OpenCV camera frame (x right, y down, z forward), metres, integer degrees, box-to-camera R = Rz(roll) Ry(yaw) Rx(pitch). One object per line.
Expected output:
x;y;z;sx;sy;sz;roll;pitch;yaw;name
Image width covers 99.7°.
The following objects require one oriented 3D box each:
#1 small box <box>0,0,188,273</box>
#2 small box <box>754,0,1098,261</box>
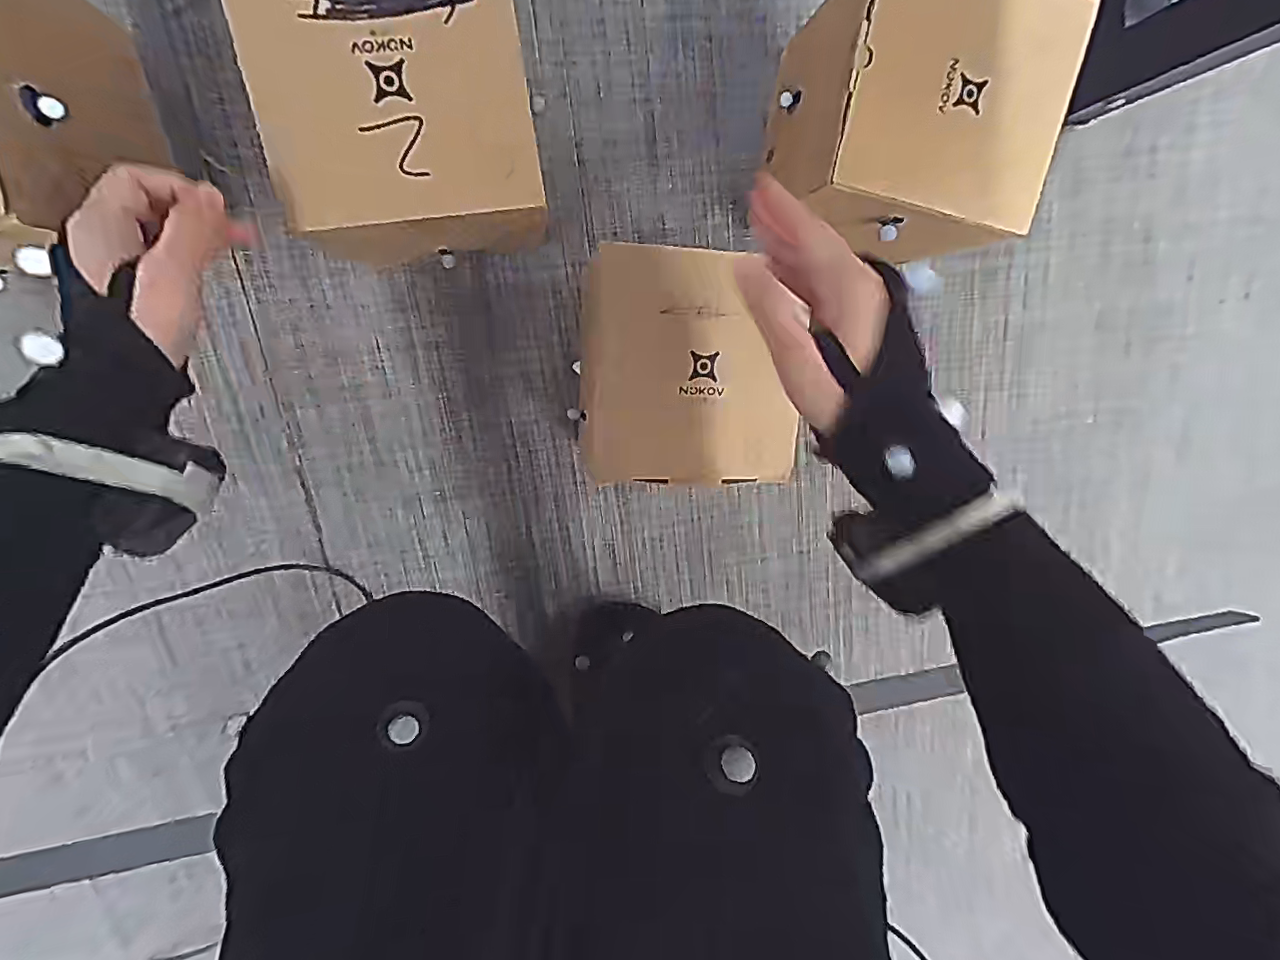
-0.455;-0.240;0.360;0.168;0.176;0.179;-8;104;-9;small box
0.224;-0.299;0.471;0.179;0.176;0.168;8;103;-11;small box
